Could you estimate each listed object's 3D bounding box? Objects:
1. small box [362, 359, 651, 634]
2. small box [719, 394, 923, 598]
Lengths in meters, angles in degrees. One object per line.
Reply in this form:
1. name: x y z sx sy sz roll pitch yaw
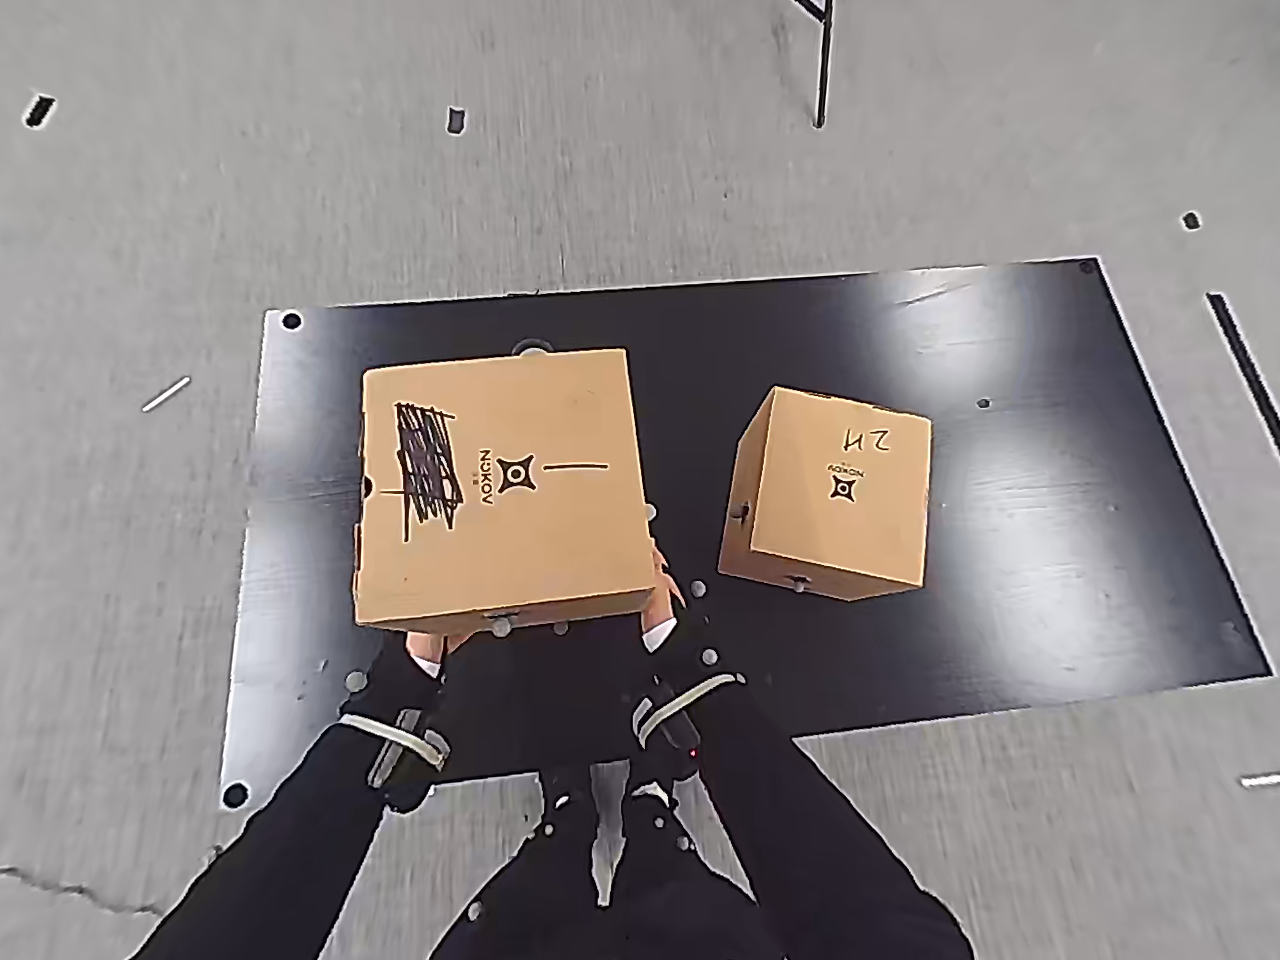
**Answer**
1. small box: -0.089 0.025 0.424 0.179 0.176 0.168 -6 72 -5
2. small box: 0.193 0.030 0.614 0.168 0.176 0.179 12 72 1
